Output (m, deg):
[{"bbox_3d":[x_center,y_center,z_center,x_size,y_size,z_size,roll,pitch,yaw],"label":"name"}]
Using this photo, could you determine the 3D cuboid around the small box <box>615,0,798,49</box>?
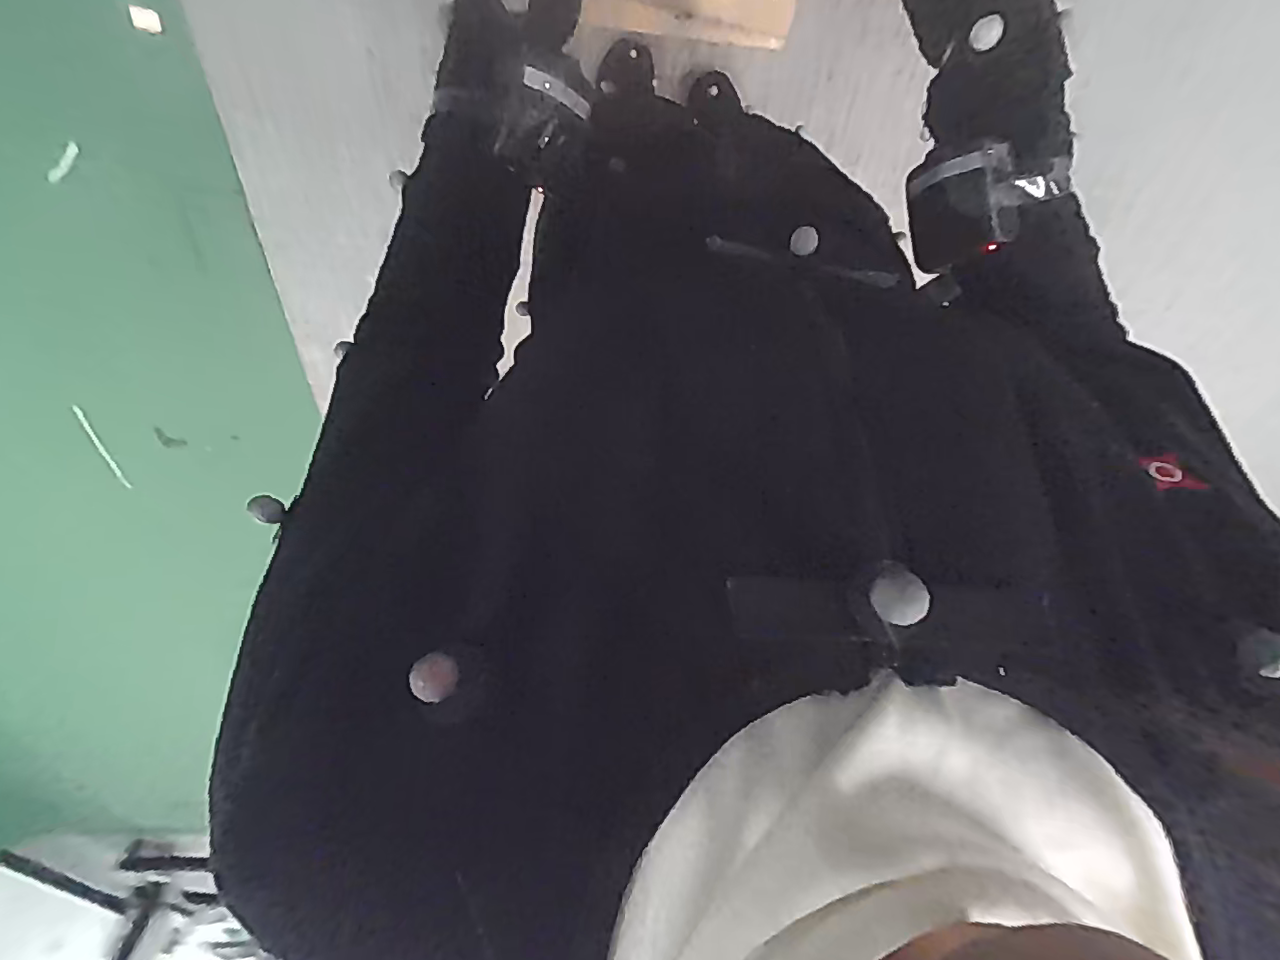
[{"bbox_3d":[0.075,-0.559,0.537,0.179,0.176,0.168,8,132,-8],"label":"small box"}]
